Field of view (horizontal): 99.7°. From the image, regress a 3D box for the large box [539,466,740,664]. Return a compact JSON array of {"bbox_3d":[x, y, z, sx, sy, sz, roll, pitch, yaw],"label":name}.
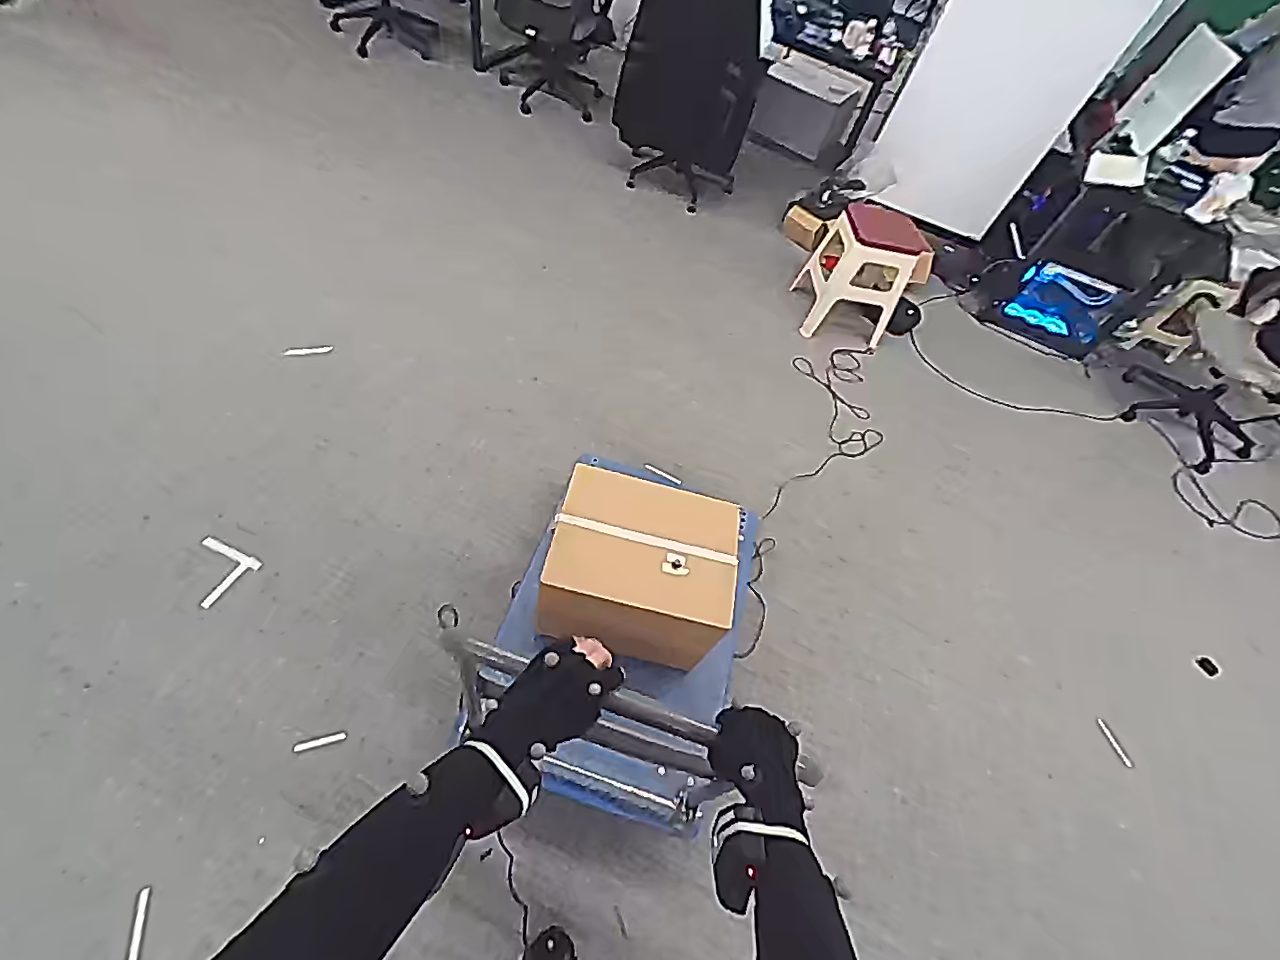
[{"bbox_3d":[-0.008,0.215,1.306,0.408,0.320,0.320,15,55,-4],"label":"large box"}]
